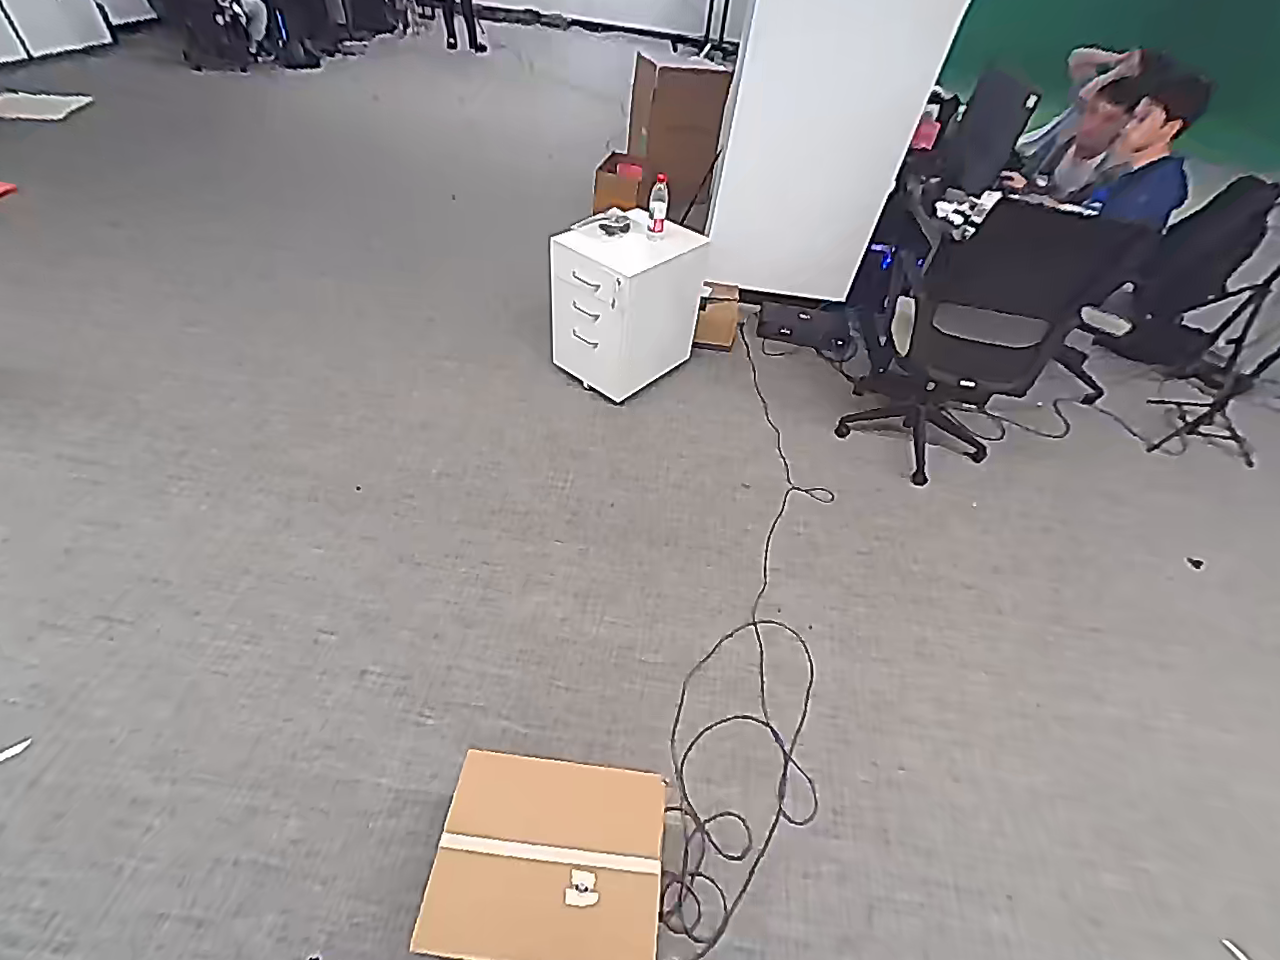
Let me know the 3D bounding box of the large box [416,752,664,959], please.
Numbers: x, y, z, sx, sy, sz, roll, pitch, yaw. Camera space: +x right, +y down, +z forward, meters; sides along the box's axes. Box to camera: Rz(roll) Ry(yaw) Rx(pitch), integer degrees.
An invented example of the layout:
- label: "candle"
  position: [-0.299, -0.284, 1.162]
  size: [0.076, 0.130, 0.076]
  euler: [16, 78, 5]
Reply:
- label: "large box"
  position: [-0.176, 0.786, 1.095]
  size: [0.408, 0.320, 0.320]
  euler: [8, 46, 0]
